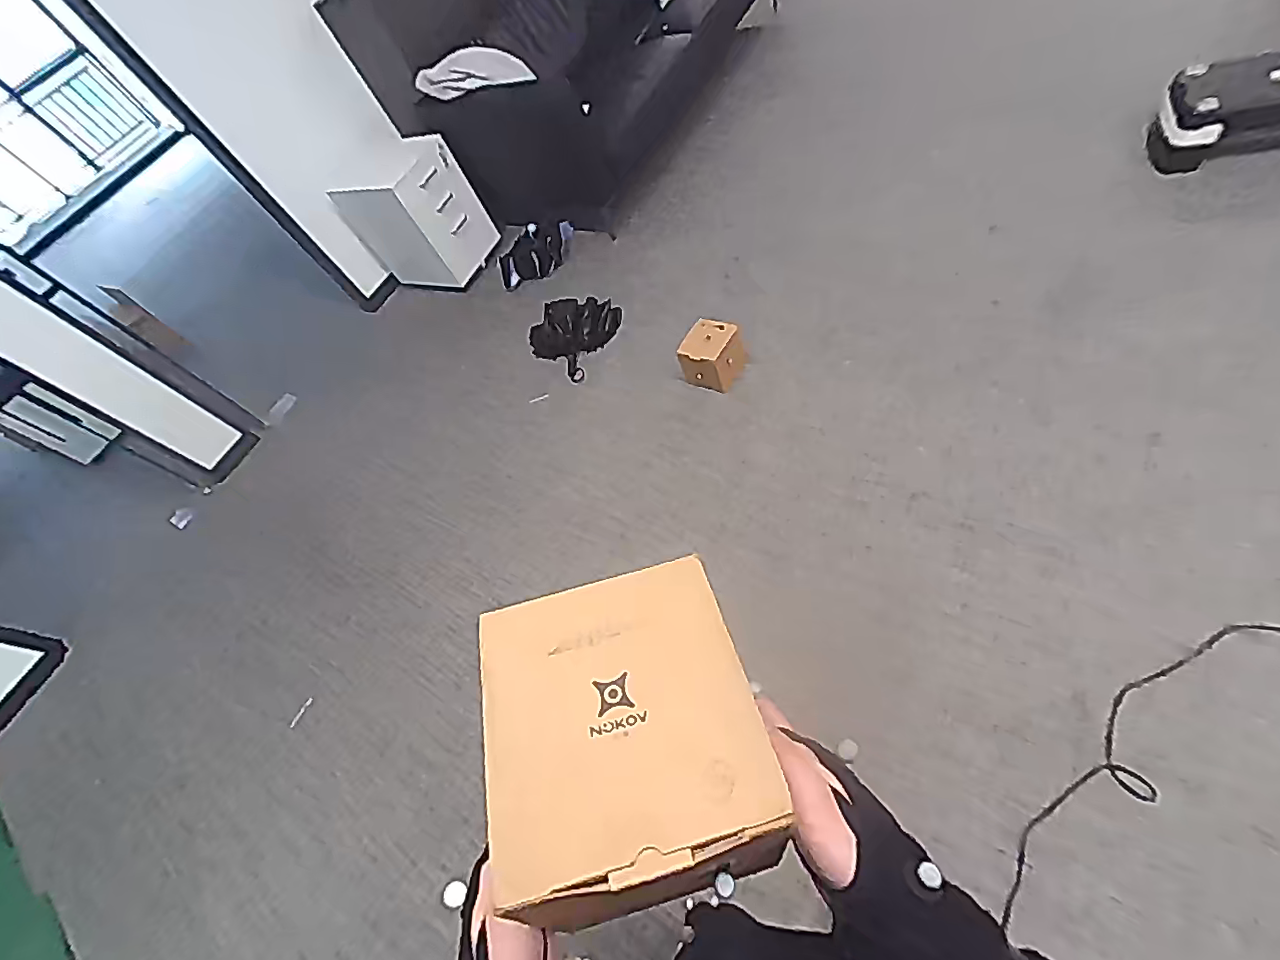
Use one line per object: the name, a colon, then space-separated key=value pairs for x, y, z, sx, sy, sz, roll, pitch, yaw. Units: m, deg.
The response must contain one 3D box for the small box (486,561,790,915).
small box: x=-0.005 y=0.193 z=0.400 sx=0.168 sy=0.176 sz=0.179 roll=-14 pitch=47 yaw=-5
